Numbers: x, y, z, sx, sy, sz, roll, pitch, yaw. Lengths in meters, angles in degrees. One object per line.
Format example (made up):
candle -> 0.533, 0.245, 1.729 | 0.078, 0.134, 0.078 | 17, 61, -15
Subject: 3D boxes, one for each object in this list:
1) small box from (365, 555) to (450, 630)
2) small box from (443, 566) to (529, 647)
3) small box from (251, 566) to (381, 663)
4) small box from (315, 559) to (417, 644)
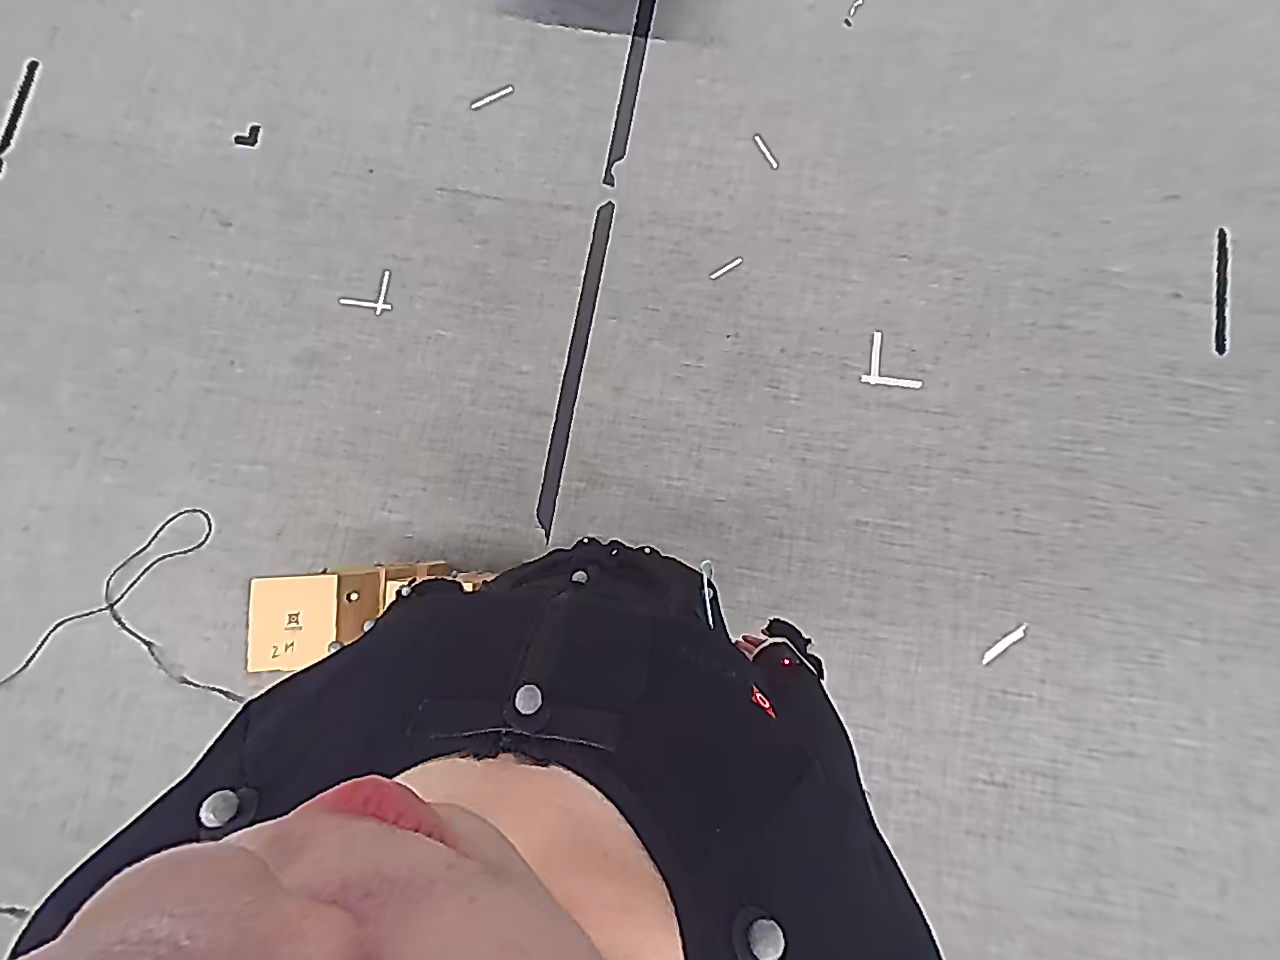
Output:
small box -> -0.610, 0.291, 1.424 | 0.168, 0.176, 0.179 | 0, 83, 0
small box -> -0.395, 0.324, 1.421 | 0.168, 0.176, 0.179 | 7, 85, 1
small box -> -0.644, 0.264, 1.096 | 0.168, 0.176, 0.179 | -2, 84, 0
small box -> -0.636, 0.276, 1.260 | 0.168, 0.176, 0.179 | 1, 83, 0
